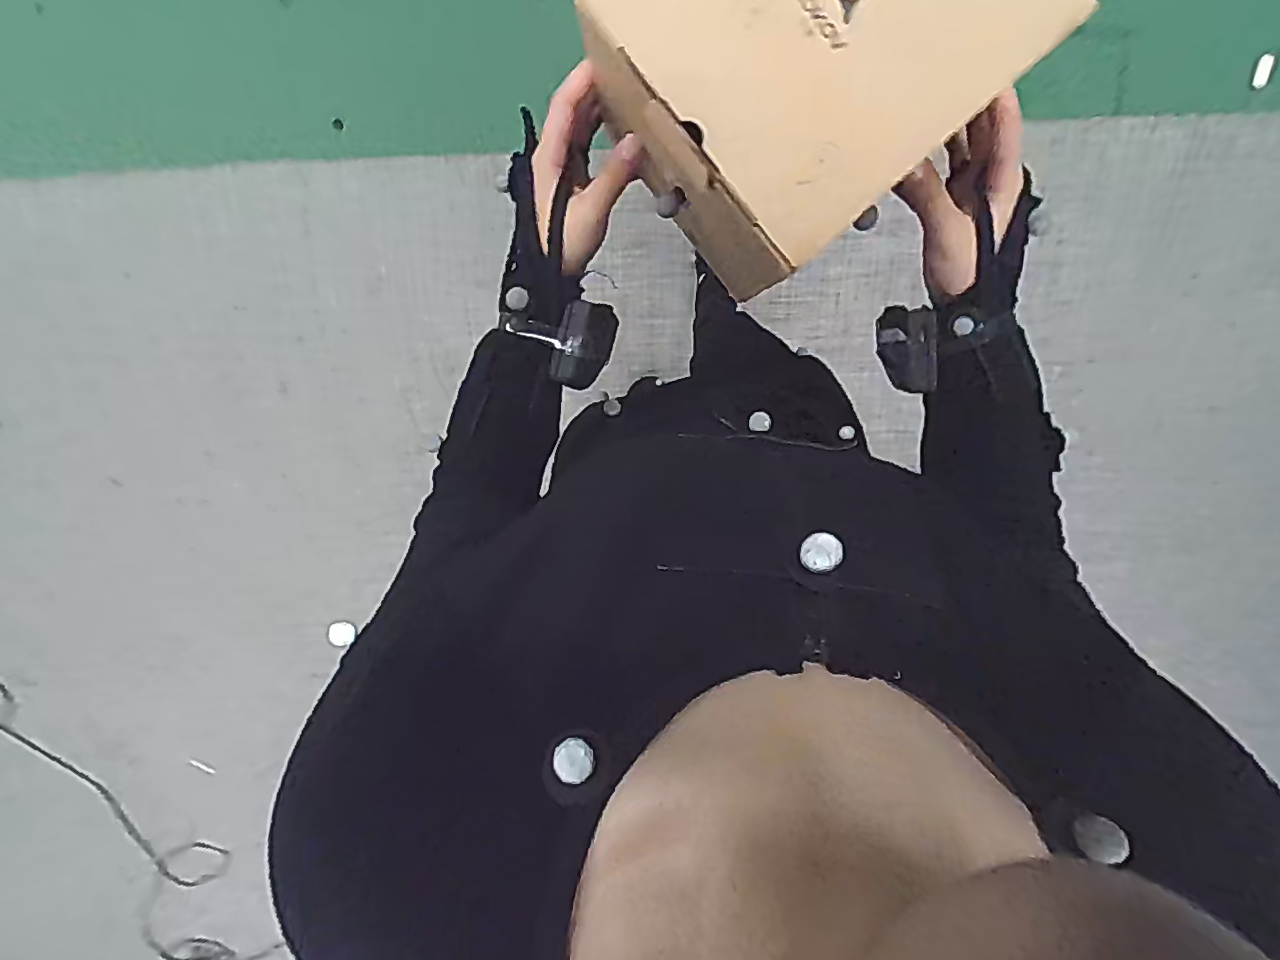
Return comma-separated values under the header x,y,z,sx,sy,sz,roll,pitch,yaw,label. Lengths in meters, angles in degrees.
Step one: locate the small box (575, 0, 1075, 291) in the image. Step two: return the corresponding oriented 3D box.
x,y,z,sx,sy,sz,roll,pitch,yaw,label
0.089,-0.240,0.331,0.179,0.176,0.168,-40,98,11,small box
